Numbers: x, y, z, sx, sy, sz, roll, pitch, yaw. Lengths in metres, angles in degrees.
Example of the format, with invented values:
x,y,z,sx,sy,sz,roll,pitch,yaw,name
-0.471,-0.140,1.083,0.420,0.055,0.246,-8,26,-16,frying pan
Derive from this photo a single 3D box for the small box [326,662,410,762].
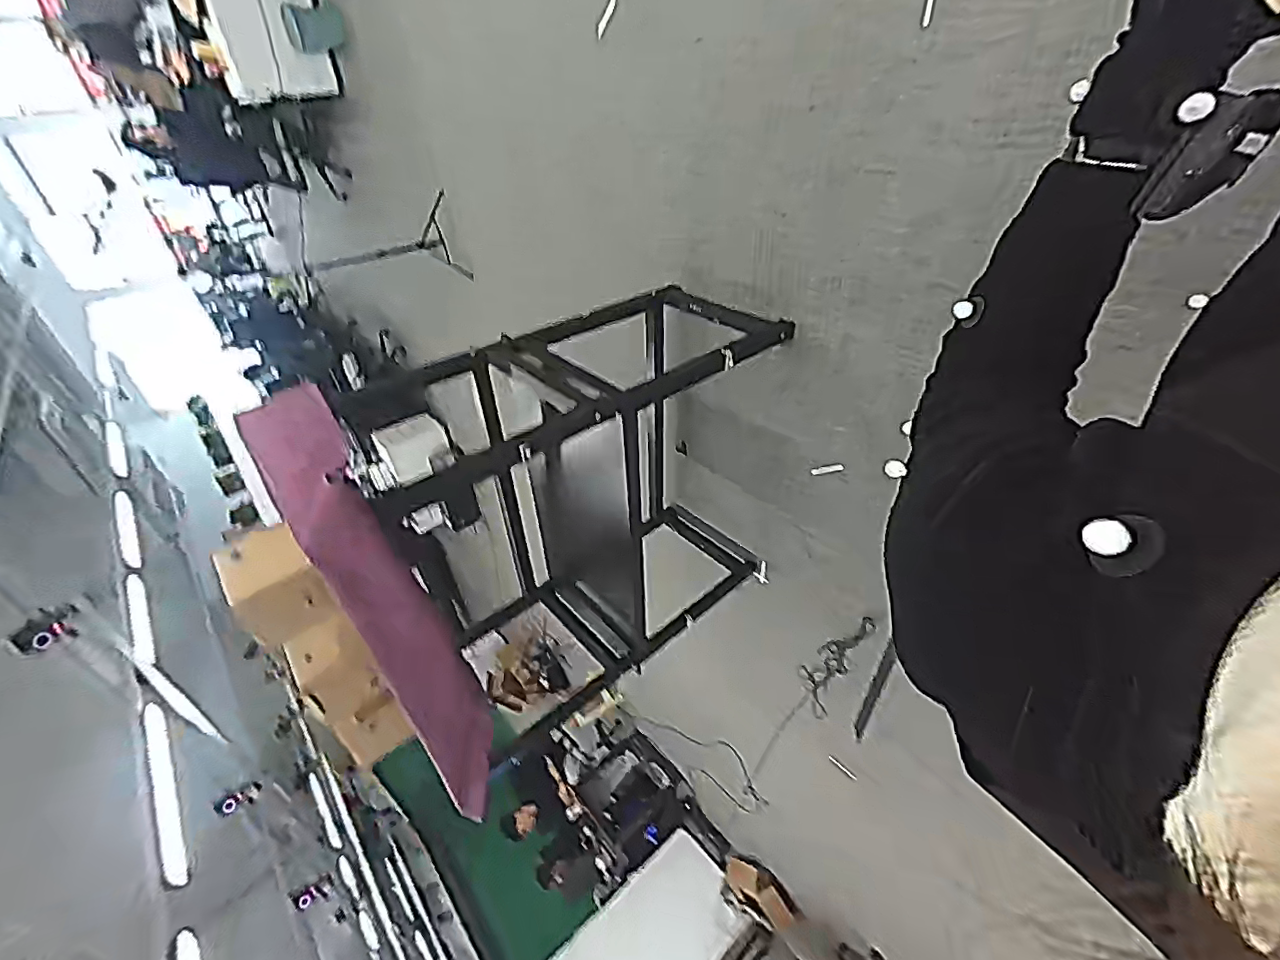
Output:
x,y,z,sx,sy,sz,roll,pitch,yaw,name
-0.796,0.662,1.565,0.168,0.176,0.179,32,140,40,small box

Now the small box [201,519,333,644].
x,y,z,sx,sy,sz,roll,pitch,yaw,name
-0.794,0.208,1.166,0.179,0.176,0.168,37,144,34,small box

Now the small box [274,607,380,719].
x,y,z,sx,sy,sz,roll,pitch,yaw,name
-0.793,0.458,1.383,0.179,0.176,0.168,31,139,41,small box
